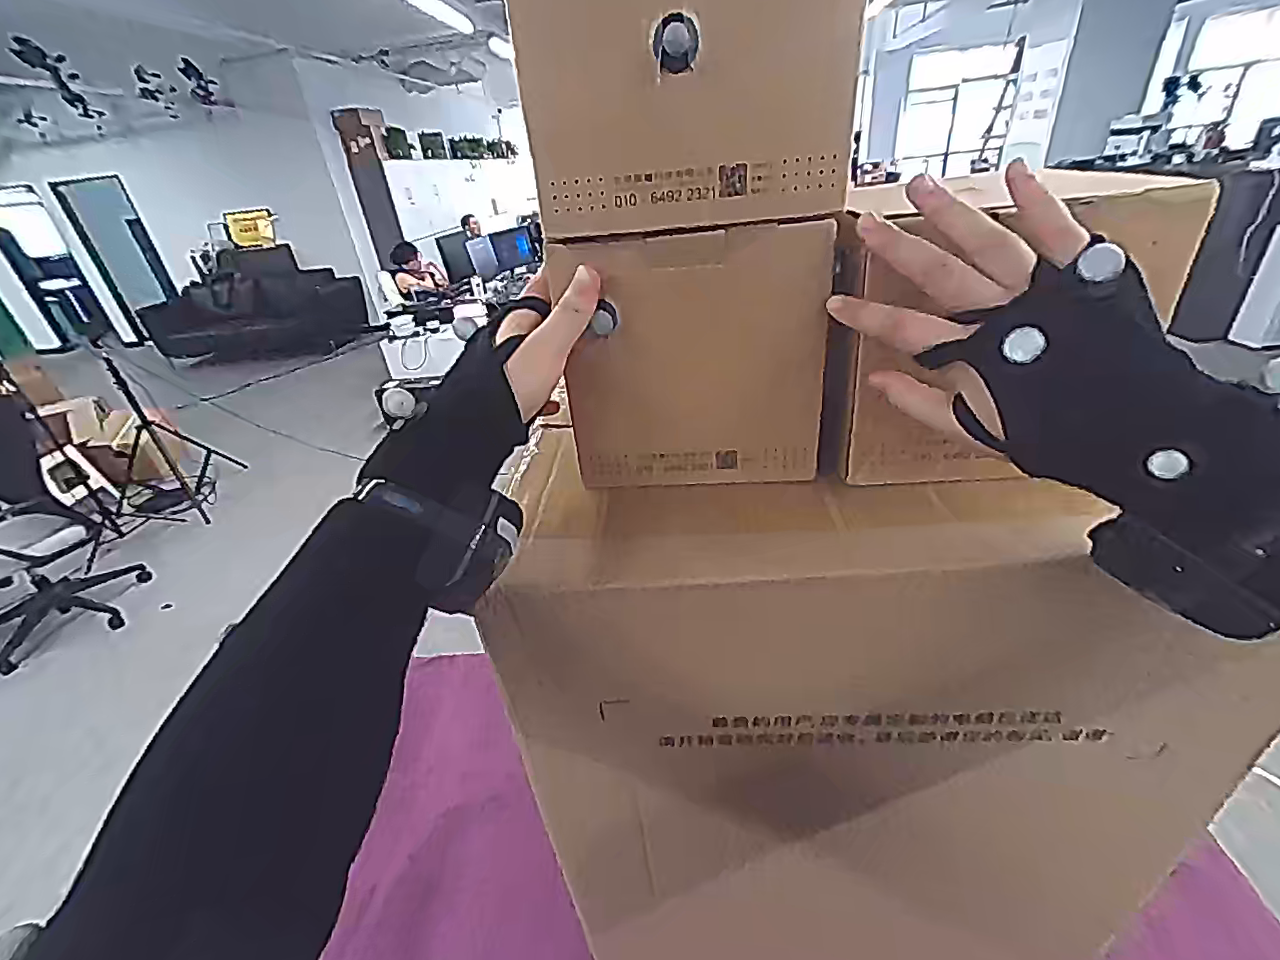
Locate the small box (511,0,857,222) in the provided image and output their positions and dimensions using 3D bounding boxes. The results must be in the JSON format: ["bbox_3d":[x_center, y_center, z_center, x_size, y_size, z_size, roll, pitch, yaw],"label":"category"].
[{"bbox_3d":[0.024,-0.255,0.323,0.168,0.176,0.179,-3,30,2],"label":"small box"}]
